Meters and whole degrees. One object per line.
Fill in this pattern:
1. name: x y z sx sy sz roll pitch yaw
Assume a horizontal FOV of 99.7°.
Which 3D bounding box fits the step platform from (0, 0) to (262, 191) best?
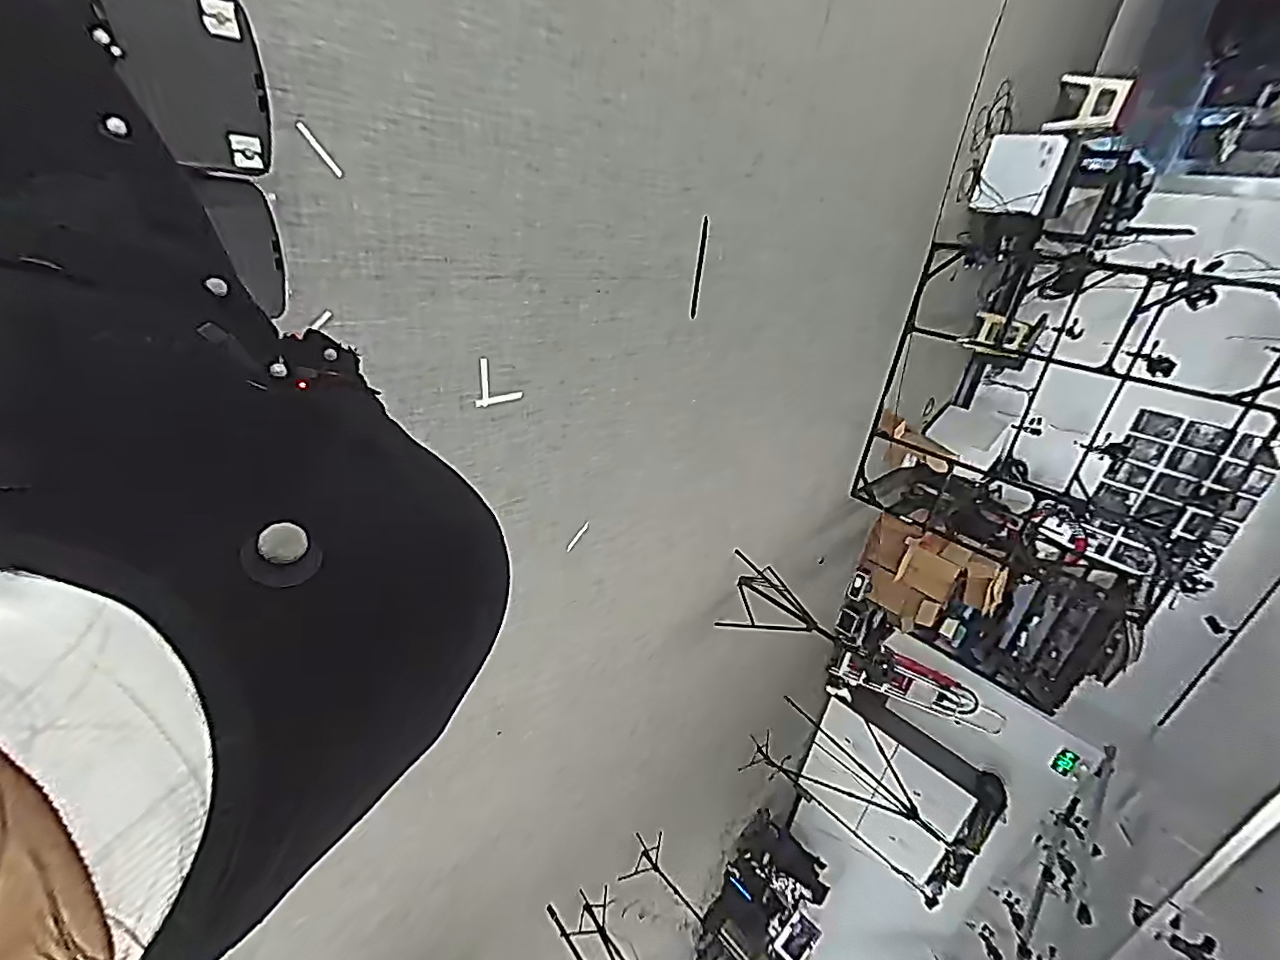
1. step platform: -0.999 -0.633 0.827 0.684 0.204 0.286 -20 128 -42
